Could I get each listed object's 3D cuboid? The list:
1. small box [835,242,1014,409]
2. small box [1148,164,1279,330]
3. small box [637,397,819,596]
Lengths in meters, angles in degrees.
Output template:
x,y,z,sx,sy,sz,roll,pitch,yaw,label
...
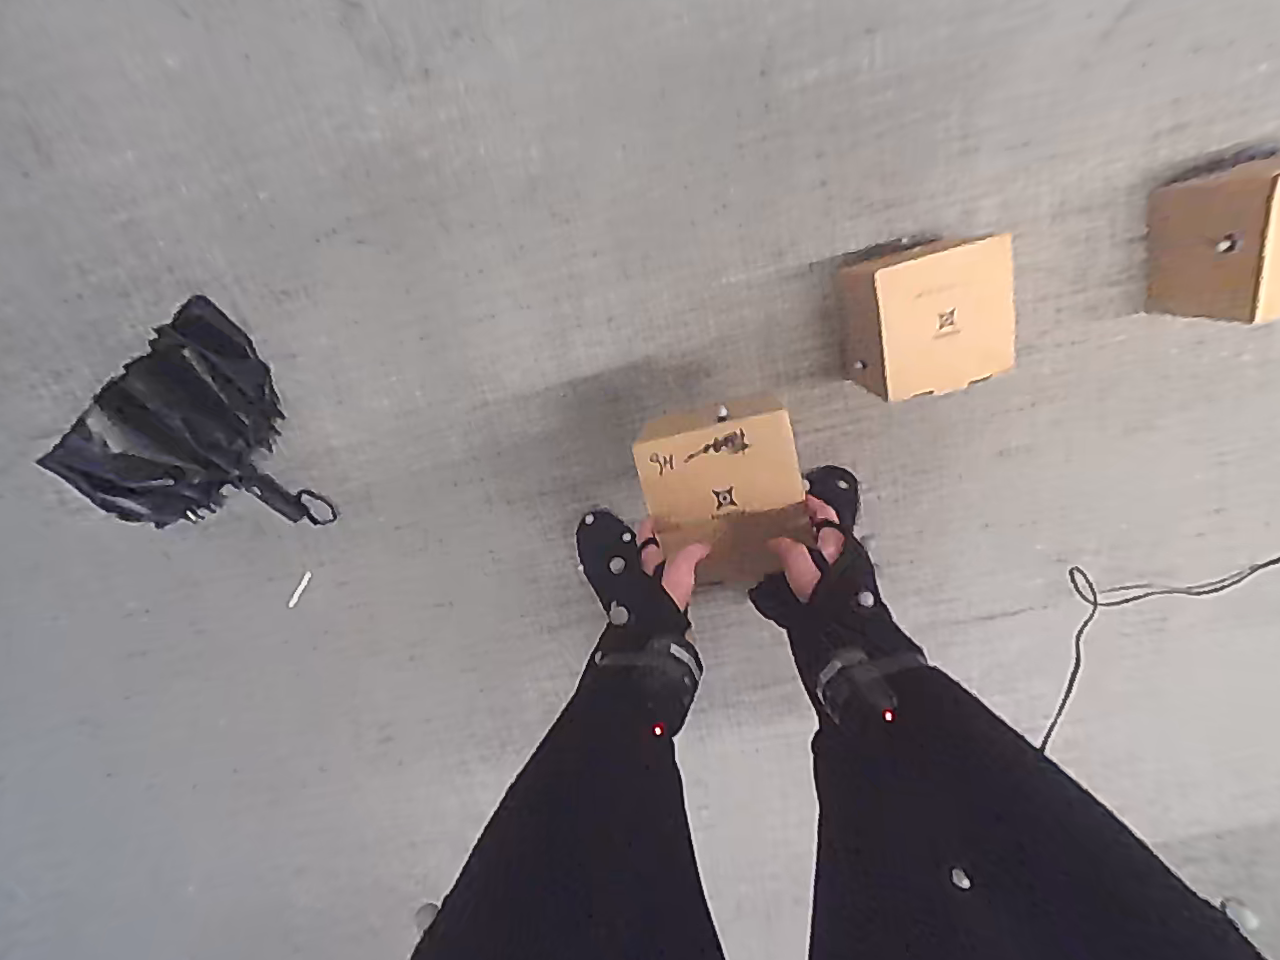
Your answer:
x,y,z,sx,sy,sz,roll,pitch,yaw,label
0.390,-0.220,0.761,0.168,0.176,0.179,-15,109,6,small box
0.818,-0.310,0.704,0.168,0.176,0.179,-15,111,9,small box
0.106,0.012,0.643,0.168,0.176,0.179,-12,104,11,small box
